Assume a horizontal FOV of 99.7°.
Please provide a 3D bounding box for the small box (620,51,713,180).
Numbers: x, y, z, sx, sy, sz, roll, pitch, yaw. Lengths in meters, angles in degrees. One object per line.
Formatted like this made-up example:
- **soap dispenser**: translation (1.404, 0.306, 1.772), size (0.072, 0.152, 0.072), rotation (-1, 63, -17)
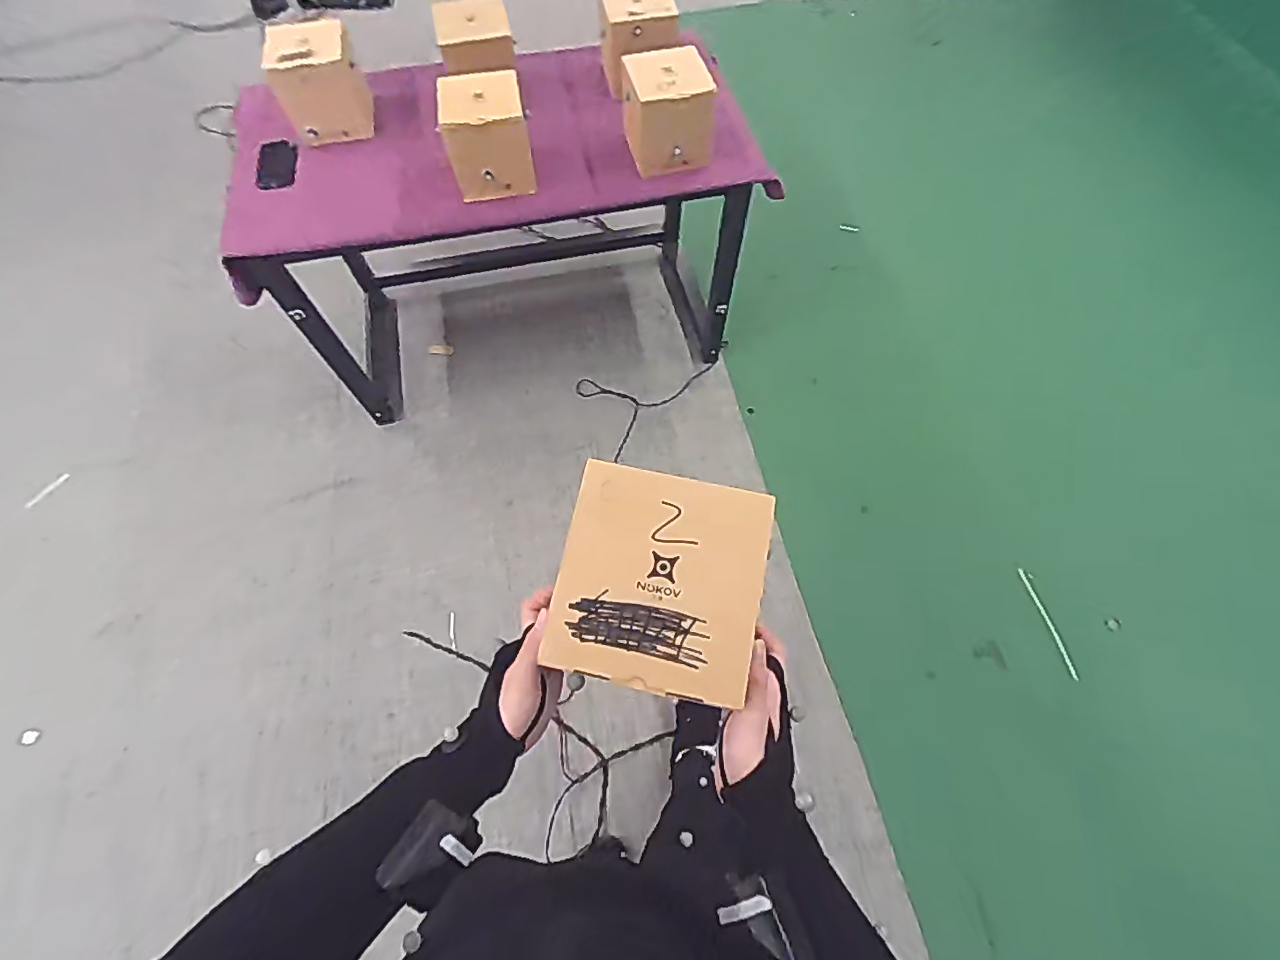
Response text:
- **small box**: translation (0.054, -0.812, 1.212), size (0.168, 0.176, 0.179), rotation (-13, 65, -5)

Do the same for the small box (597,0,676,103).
- **small box**: translation (-0.013, -1.082, 1.348), size (0.168, 0.176, 0.179), rotation (-11, 64, -4)

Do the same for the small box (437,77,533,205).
- **small box**: translation (-0.334, -0.735, 1.177), size (0.168, 0.176, 0.179), rotation (-10, 64, -5)

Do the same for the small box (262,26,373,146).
- **small box**: translation (-0.741, -0.908, 1.260), size (0.168, 0.176, 0.179), rotation (-12, 64, -6)

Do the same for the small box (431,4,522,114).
- **small box**: translation (-0.392, -1.005, 1.311), size (0.168, 0.176, 0.179), rotation (-12, 65, -5)
